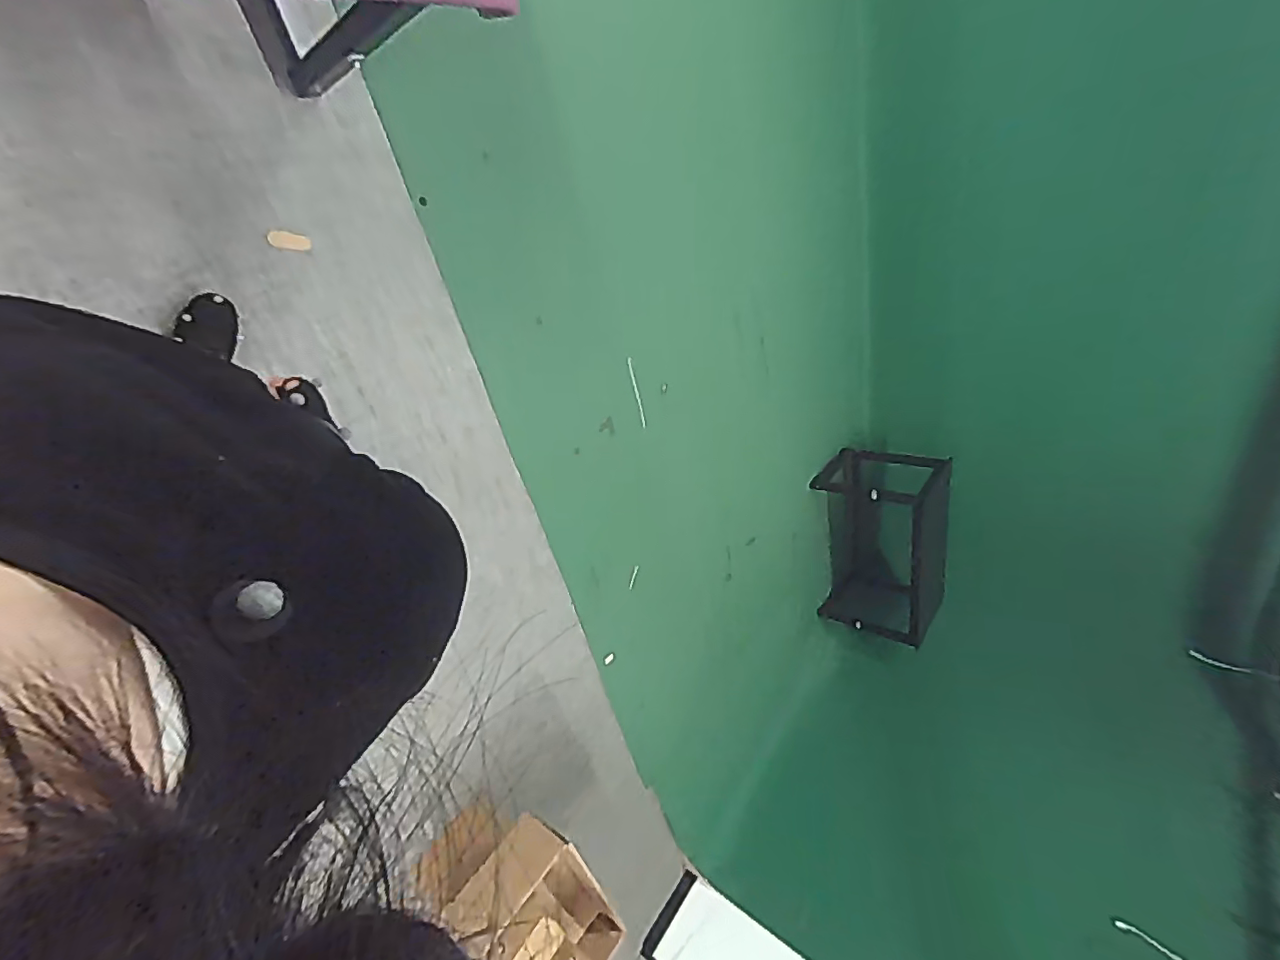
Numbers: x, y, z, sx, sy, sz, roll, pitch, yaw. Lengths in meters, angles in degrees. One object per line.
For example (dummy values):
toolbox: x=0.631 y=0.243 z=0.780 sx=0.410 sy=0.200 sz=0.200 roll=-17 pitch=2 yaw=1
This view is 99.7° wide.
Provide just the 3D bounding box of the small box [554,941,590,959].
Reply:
small box: x=-0.180 y=1.475 z=1.543 sx=0.168 sy=0.176 sz=0.179 roll=-46 pitch=128 yaw=-33
